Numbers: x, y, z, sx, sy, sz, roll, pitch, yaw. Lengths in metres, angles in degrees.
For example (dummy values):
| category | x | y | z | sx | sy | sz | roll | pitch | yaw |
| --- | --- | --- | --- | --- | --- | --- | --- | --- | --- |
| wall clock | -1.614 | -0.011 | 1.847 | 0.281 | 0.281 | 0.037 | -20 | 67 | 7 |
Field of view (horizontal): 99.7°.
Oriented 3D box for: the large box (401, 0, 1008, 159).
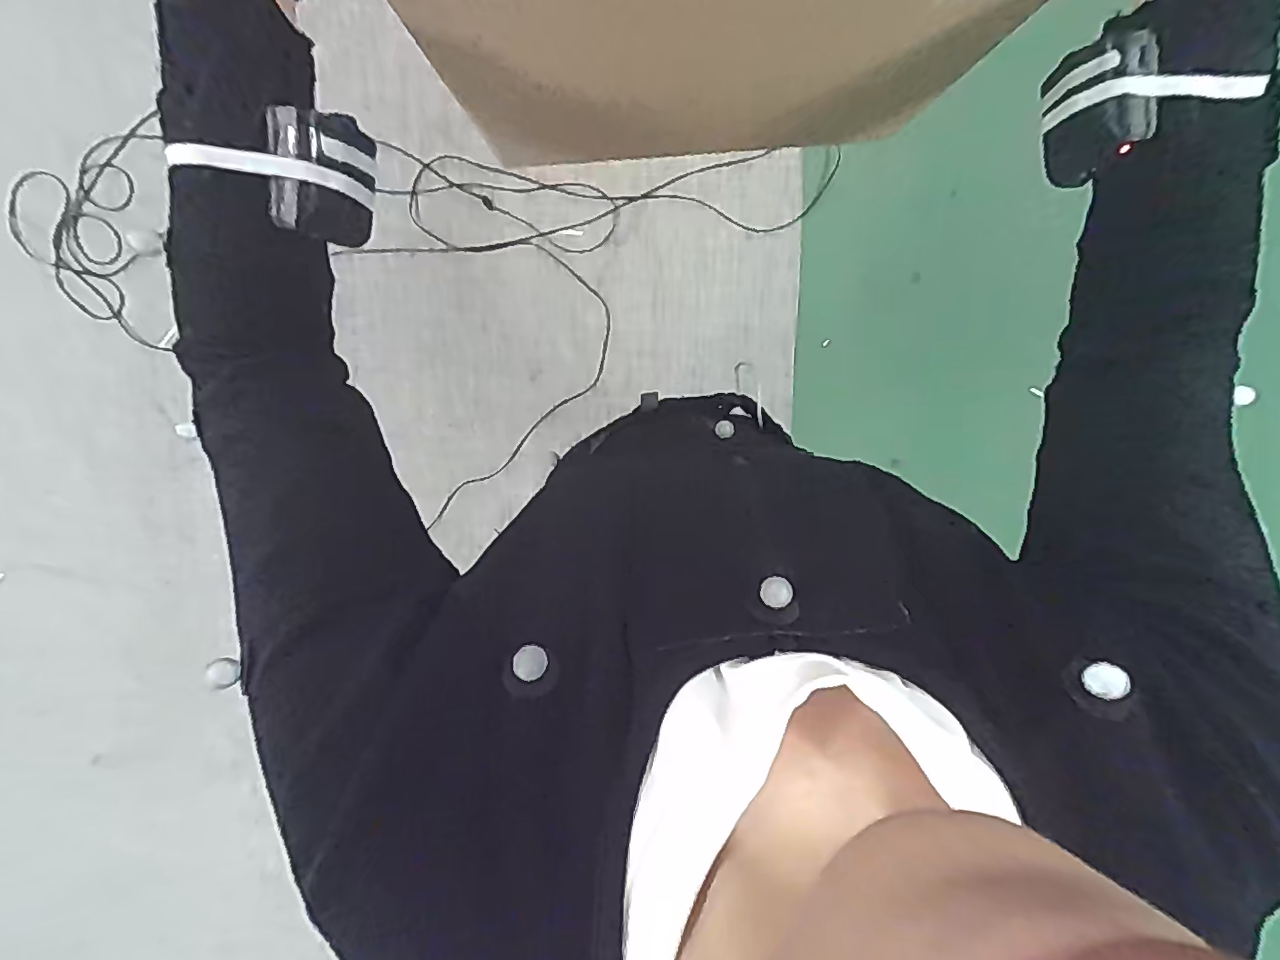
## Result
| category | x | y | z | sx | sy | sz | roll | pitch | yaw |
| --- | --- | --- | --- | --- | --- | --- | --- | --- | --- |
| large box | 0.040 | -0.458 | 0.373 | 0.408 | 0.320 | 0.320 | -5 | 104 | 0 |
